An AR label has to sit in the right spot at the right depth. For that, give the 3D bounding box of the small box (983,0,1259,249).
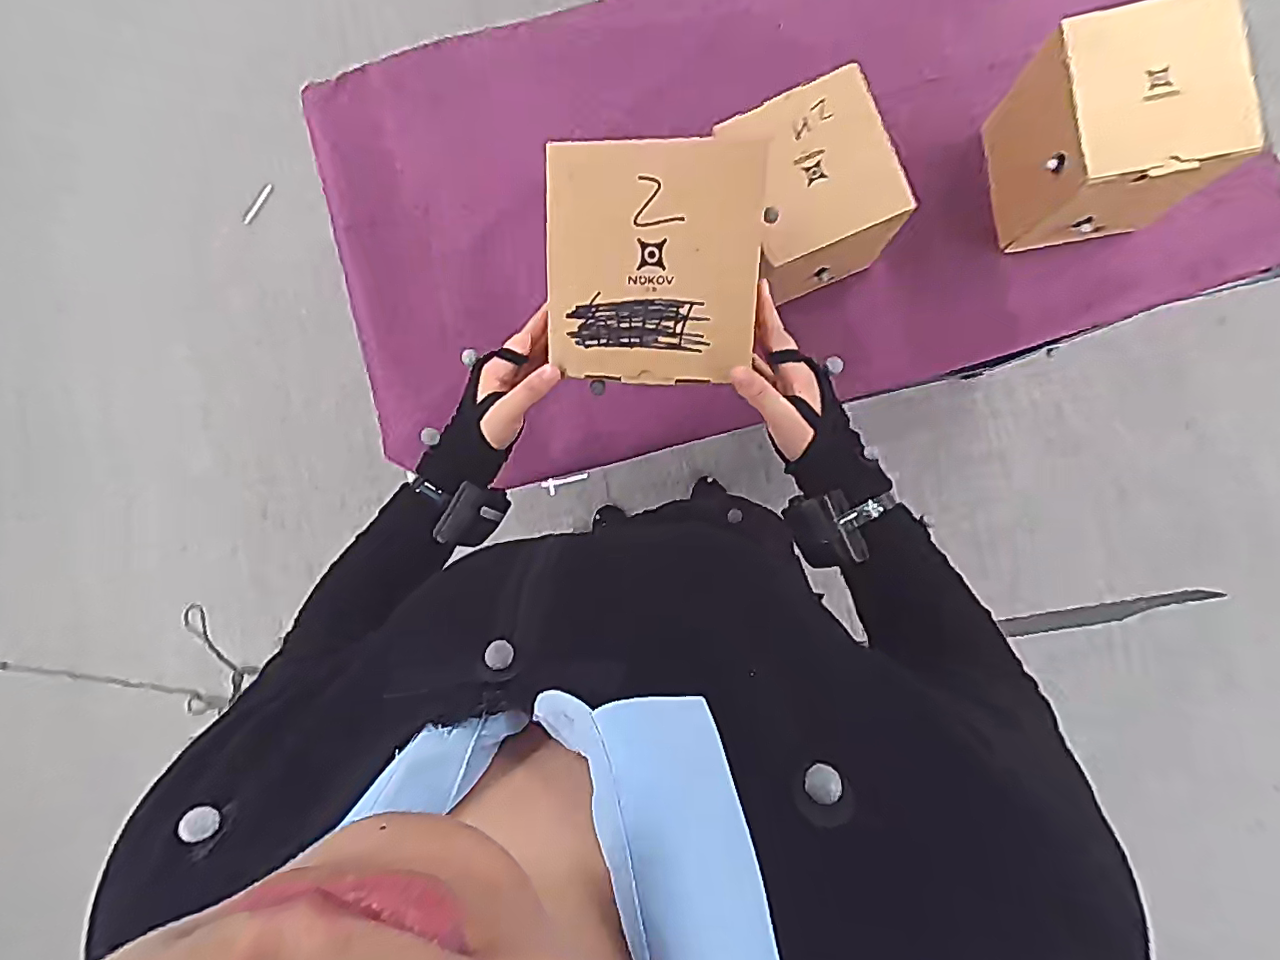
[{"bbox_3d":[0.532,-0.401,0.628,0.168,0.176,0.179,-8,88,7],"label":"small box"}]

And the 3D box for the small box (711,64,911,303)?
[{"bbox_3d":[0.194,-0.339,0.665,0.168,0.176,0.179,-22,87,5],"label":"small box"}]
